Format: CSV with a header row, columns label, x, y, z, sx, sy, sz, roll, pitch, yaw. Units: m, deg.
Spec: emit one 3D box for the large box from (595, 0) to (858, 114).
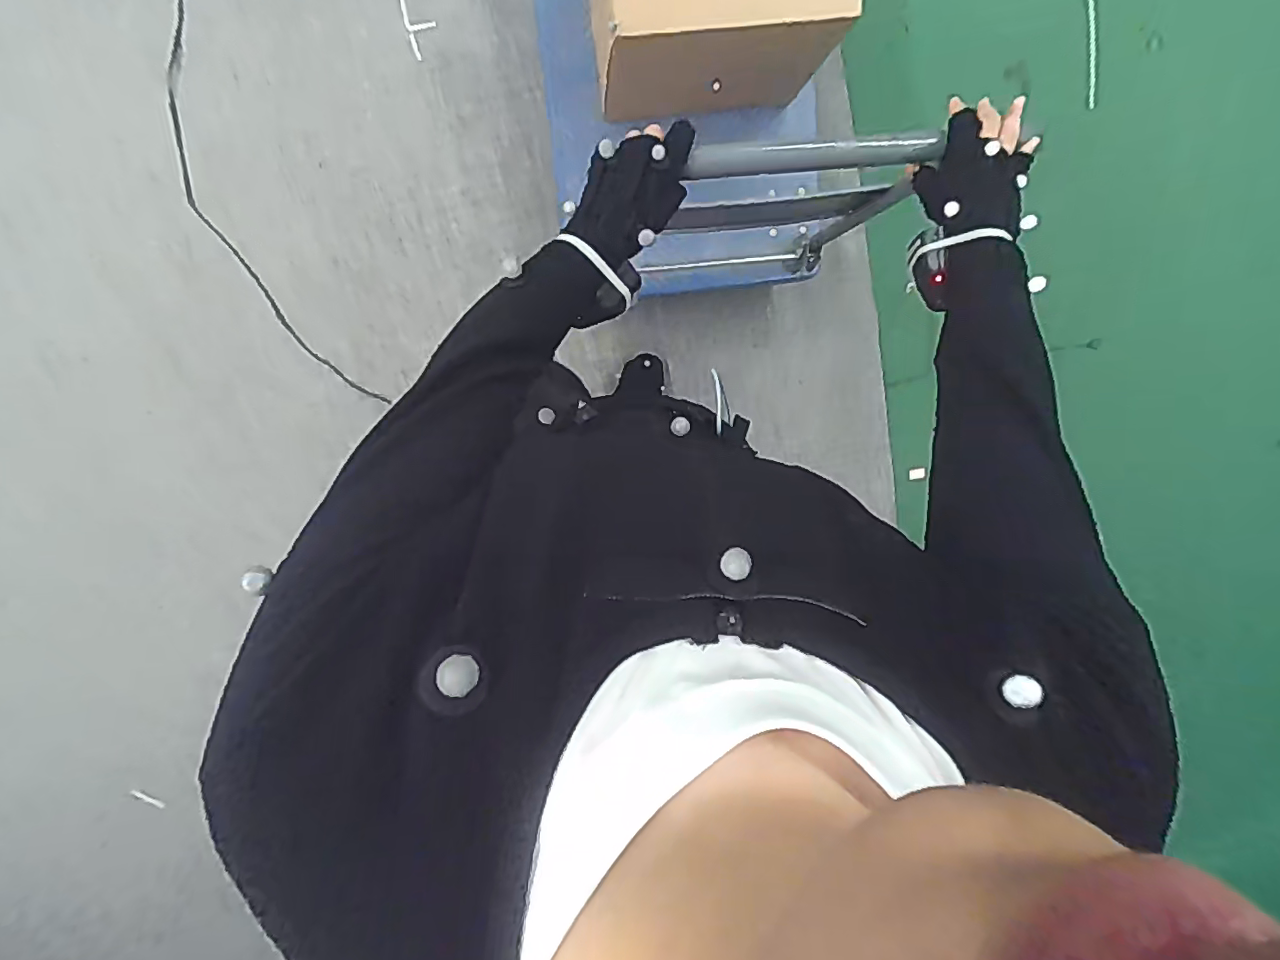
label,x,y,z,sx,sy,sz,roll,pitch,yaw
large box,0.126,-0.906,0.969,0.408,0.320,0.320,-8,103,-4
